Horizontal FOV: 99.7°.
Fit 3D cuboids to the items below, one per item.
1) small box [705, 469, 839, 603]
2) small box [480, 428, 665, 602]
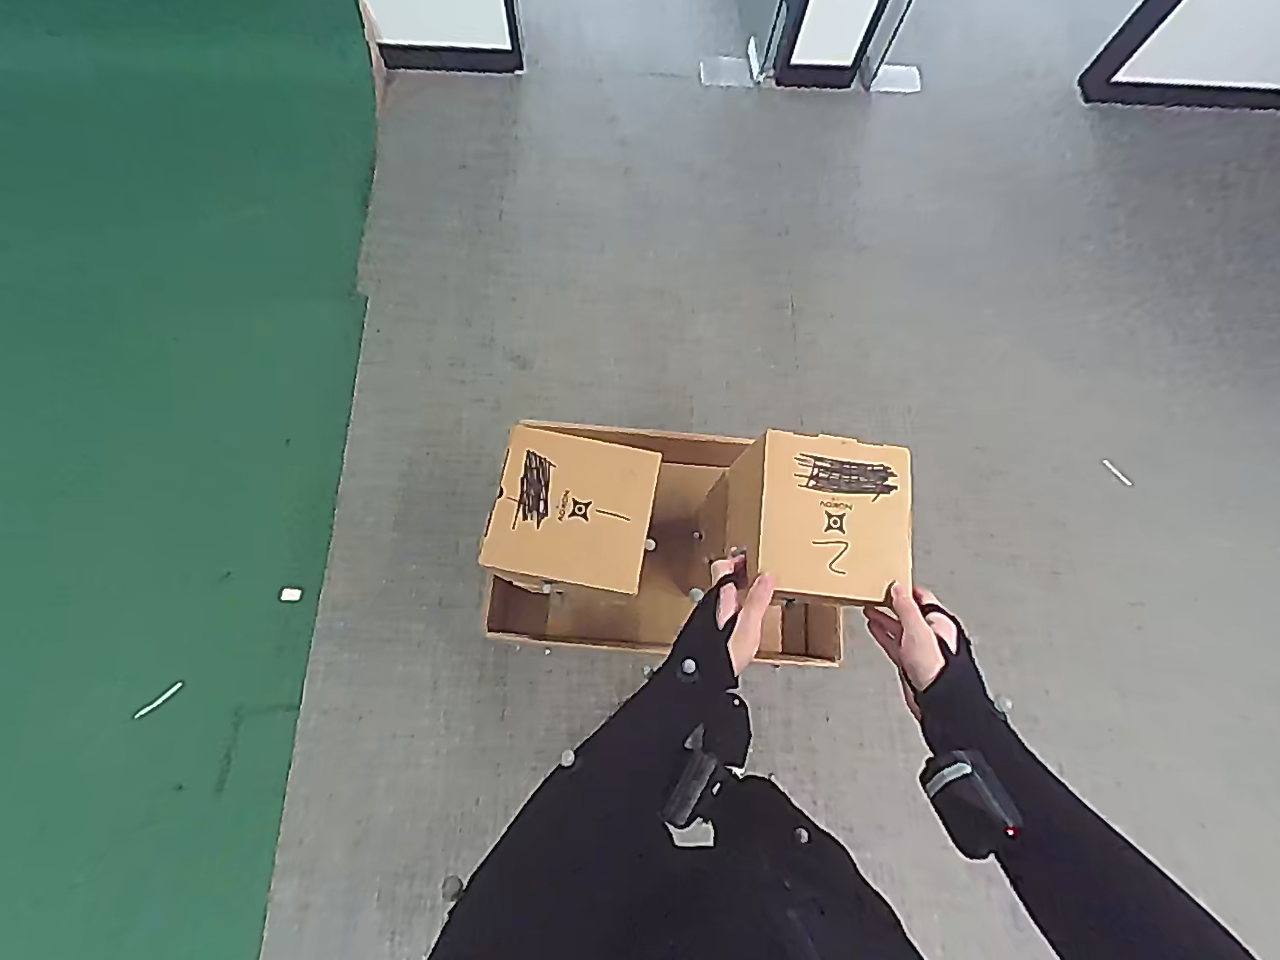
[{"bbox_3d":[0.198,0.095,0.846,0.168,0.176,0.179,6,74,-2],"label":"small box"},{"bbox_3d":[-0.076,0.054,0.675,0.179,0.176,0.168,12,74,-1],"label":"small box"}]
